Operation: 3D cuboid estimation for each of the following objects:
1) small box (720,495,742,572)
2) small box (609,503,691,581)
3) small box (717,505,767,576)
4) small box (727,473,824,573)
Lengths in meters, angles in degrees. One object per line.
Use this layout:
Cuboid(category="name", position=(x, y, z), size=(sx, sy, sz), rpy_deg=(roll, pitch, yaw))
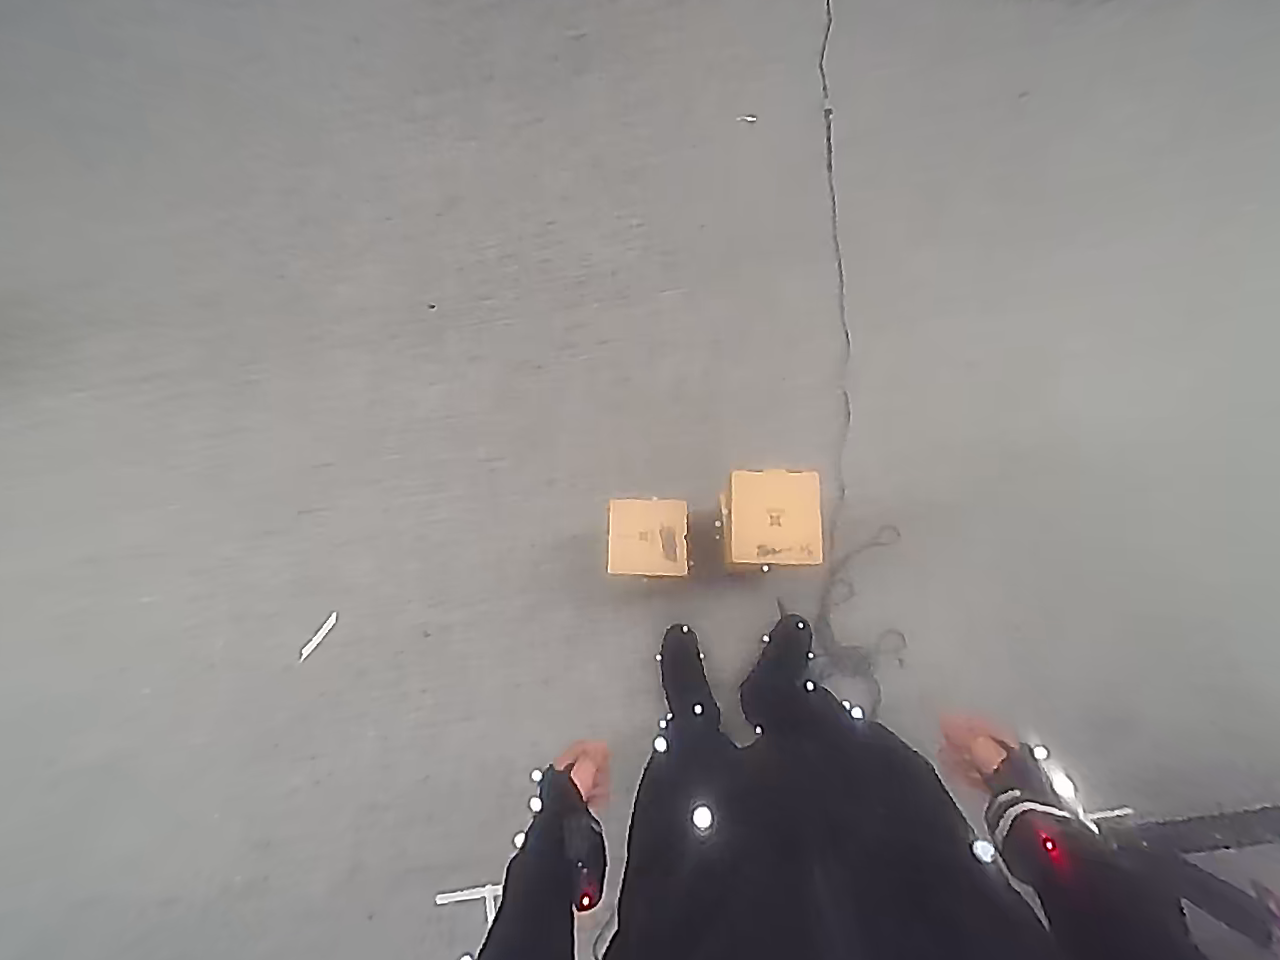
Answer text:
Cuboid(category="small box", position=(0.280, 0.120, 1.243), size=(0.179, 0.176, 0.168), rpy_deg=(-6, 78, 4))
Cuboid(category="small box", position=(0.029, 0.147, 1.256), size=(0.179, 0.176, 0.168), rpy_deg=(0, 78, 6))
Cuboid(category="small box", position=(0.294, 0.151, 1.402), size=(0.168, 0.176, 0.179), rpy_deg=(-8, 78, 4))
Cuboid(category="small box", position=(0.263, 0.091, 1.082), size=(0.168, 0.176, 0.179), rpy_deg=(1, 78, 6))
